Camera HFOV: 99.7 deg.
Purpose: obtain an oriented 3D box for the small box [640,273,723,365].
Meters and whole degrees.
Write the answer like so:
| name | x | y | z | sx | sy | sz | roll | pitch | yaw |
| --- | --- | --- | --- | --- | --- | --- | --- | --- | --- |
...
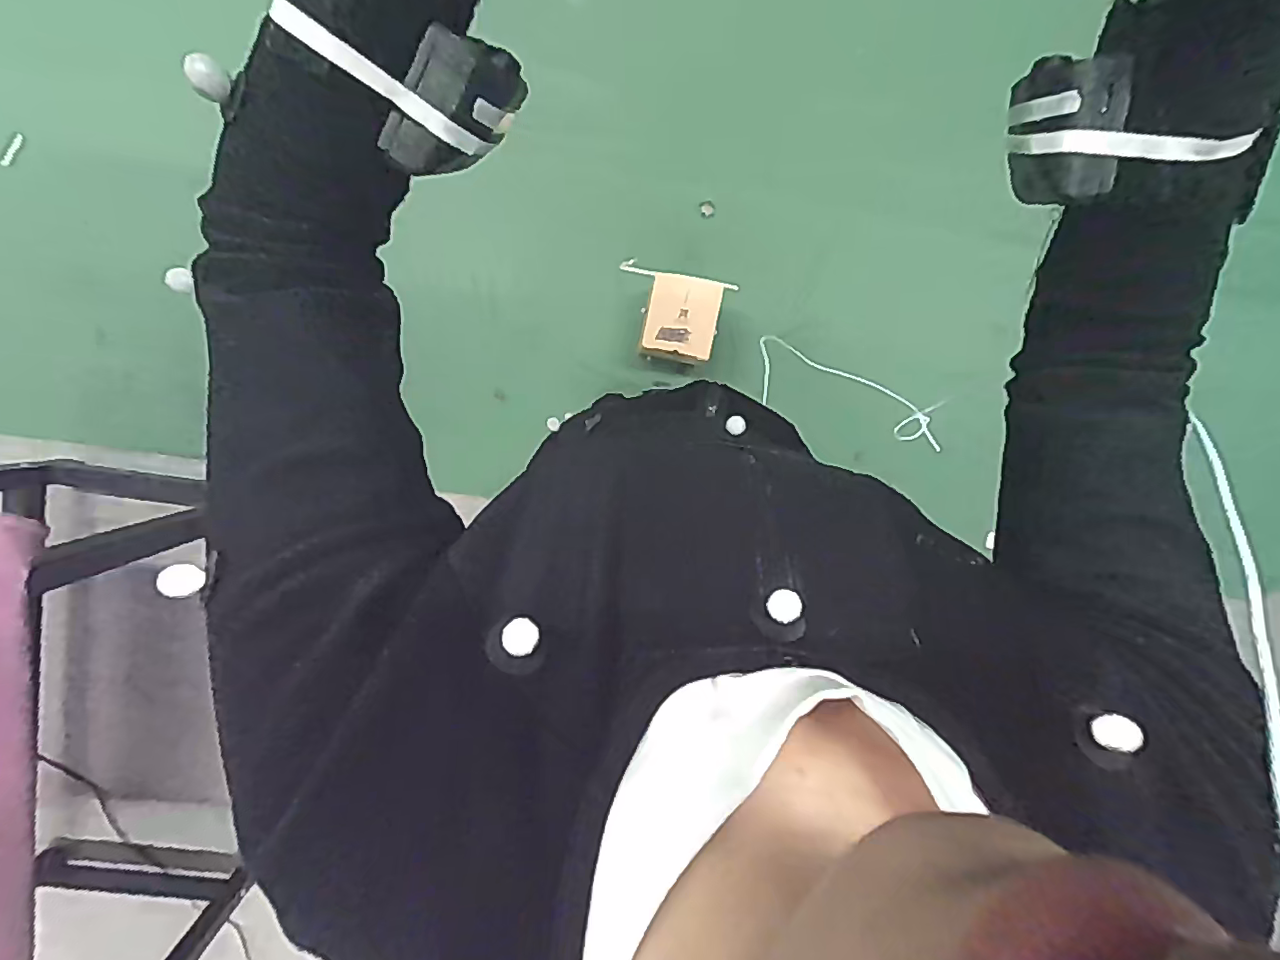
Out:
| name | x | y | z | sx | sy | sz | roll | pitch | yaw |
| --- | --- | --- | --- | --- | --- | --- | --- | --- | --- |
| small box | 0.096 | -0.391 | 1.350 | 0.168 | 0.176 | 0.179 | 11 | 96 | -5 |
